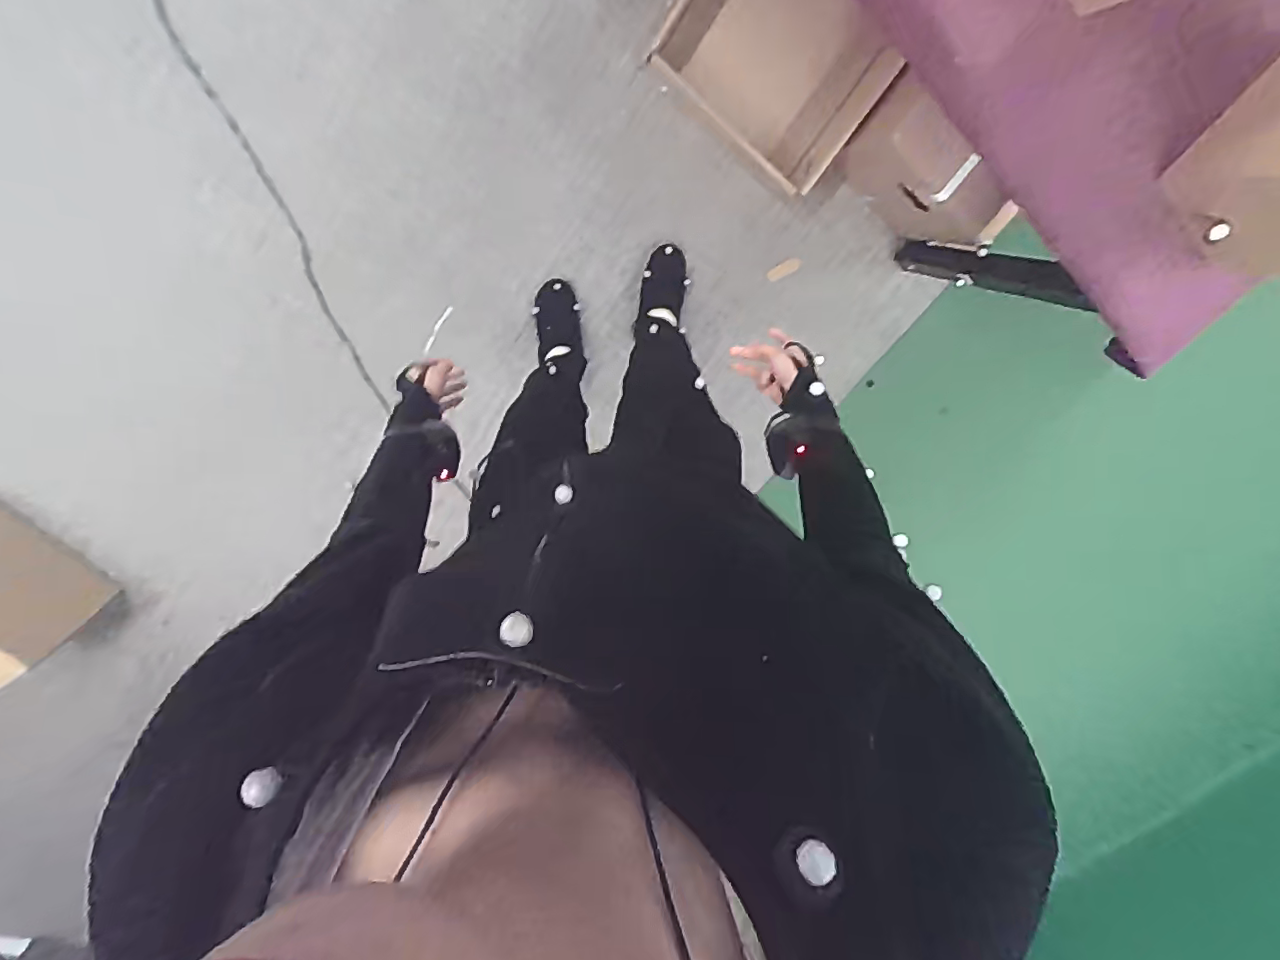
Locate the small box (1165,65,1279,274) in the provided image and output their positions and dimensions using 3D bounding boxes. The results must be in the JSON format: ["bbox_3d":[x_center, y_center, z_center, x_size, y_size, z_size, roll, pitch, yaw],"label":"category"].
[{"bbox_3d":[0.738,-0.341,0.572,0.168,0.176,0.179,33,108,-20],"label":"small box"}]
